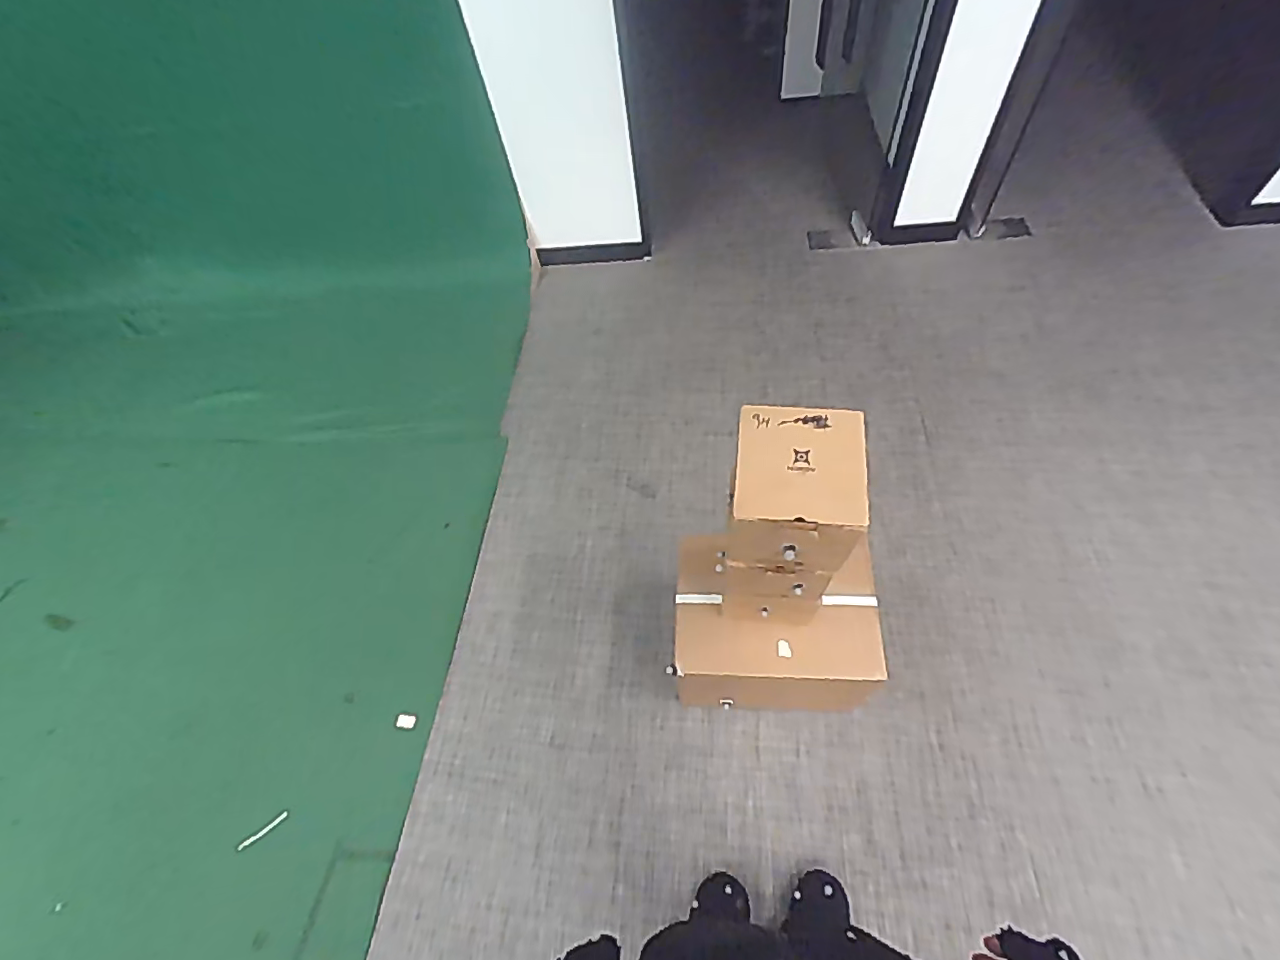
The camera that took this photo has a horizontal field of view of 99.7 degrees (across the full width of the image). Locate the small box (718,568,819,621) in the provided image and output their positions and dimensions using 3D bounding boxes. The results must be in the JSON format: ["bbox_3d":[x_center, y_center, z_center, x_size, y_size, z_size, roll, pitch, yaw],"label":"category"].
[{"bbox_3d":[0.252,0.171,1.066,0.179,0.176,0.168,6,62,11],"label":"small box"}]

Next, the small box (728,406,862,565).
[{"bbox_3d":[0.218,0.014,0.786,0.168,0.176,0.179,5,64,9],"label":"small box"}]

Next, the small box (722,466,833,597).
[{"bbox_3d":[0.228,0.094,0.928,0.168,0.176,0.179,3,62,8],"label":"small box"}]
